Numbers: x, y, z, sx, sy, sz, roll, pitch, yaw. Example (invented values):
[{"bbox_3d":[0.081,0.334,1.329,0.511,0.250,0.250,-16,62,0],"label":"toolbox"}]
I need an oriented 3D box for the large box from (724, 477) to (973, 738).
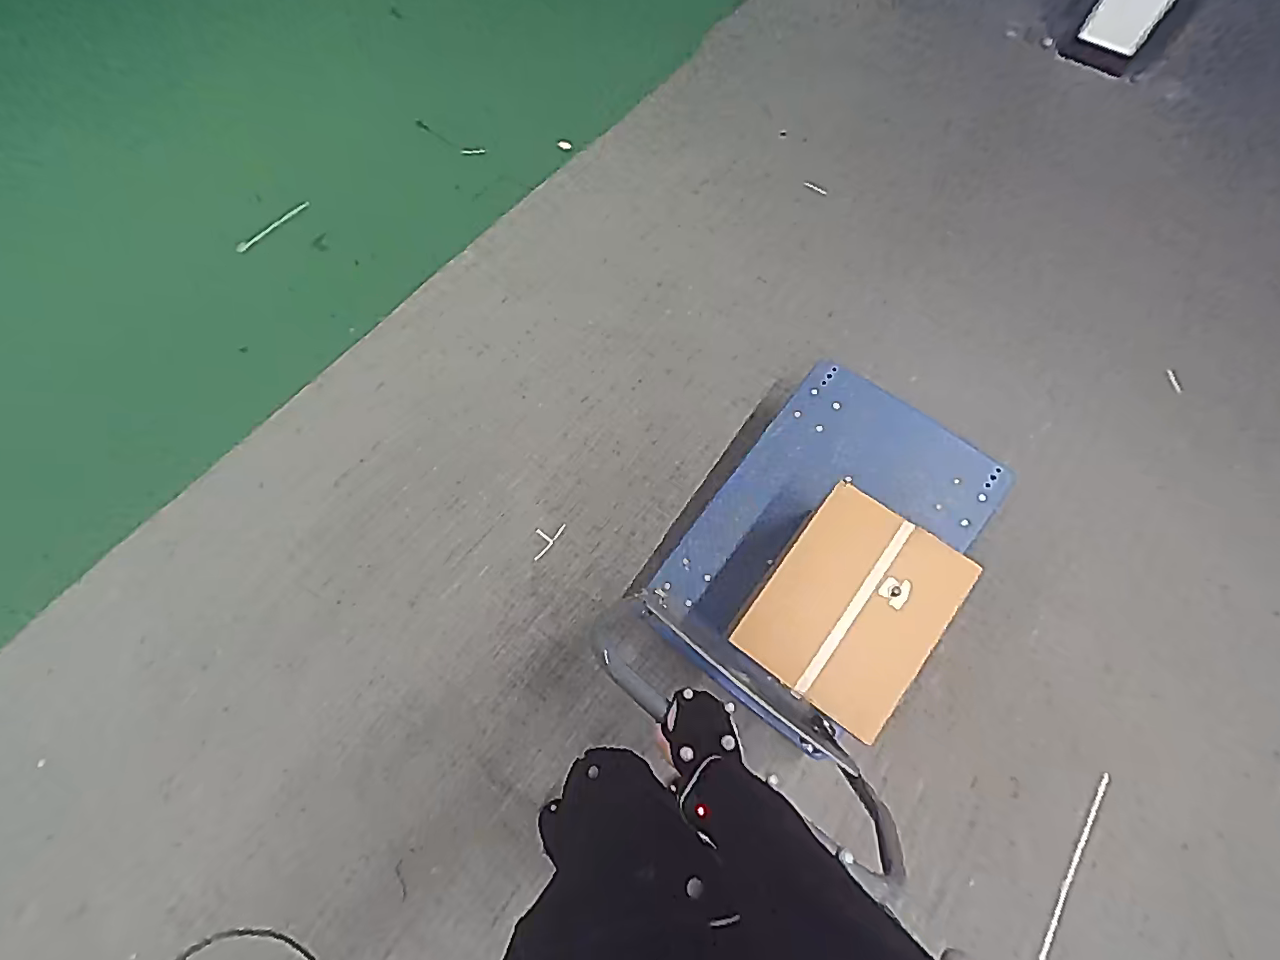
[{"bbox_3d":[0.422,0.272,1.188,0.320,0.320,0.408,36,82,13],"label":"large box"}]
